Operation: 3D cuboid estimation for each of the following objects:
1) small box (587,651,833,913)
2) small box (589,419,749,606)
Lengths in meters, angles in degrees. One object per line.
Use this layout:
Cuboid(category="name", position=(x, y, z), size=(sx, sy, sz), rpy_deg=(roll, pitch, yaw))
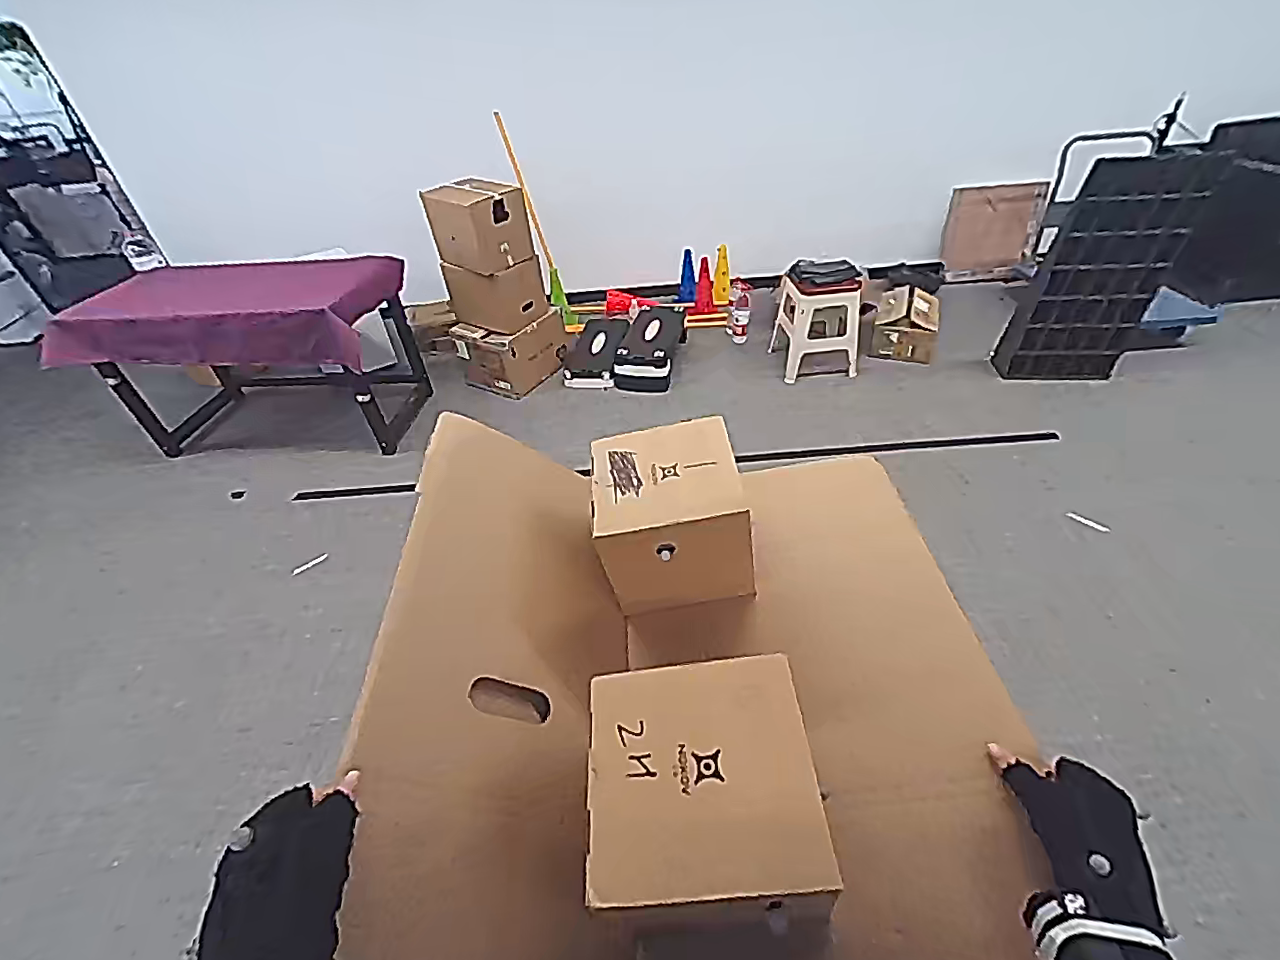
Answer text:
Cuboid(category="small box", position=(0.060, 0.276, 0.488), size=(0.179, 0.176, 0.168), rpy_deg=(-10, 45, 7))
Cuboid(category="small box", position=(0.039, 0.048, 0.712), size=(0.179, 0.176, 0.168), rpy_deg=(-11, 46, 5))
